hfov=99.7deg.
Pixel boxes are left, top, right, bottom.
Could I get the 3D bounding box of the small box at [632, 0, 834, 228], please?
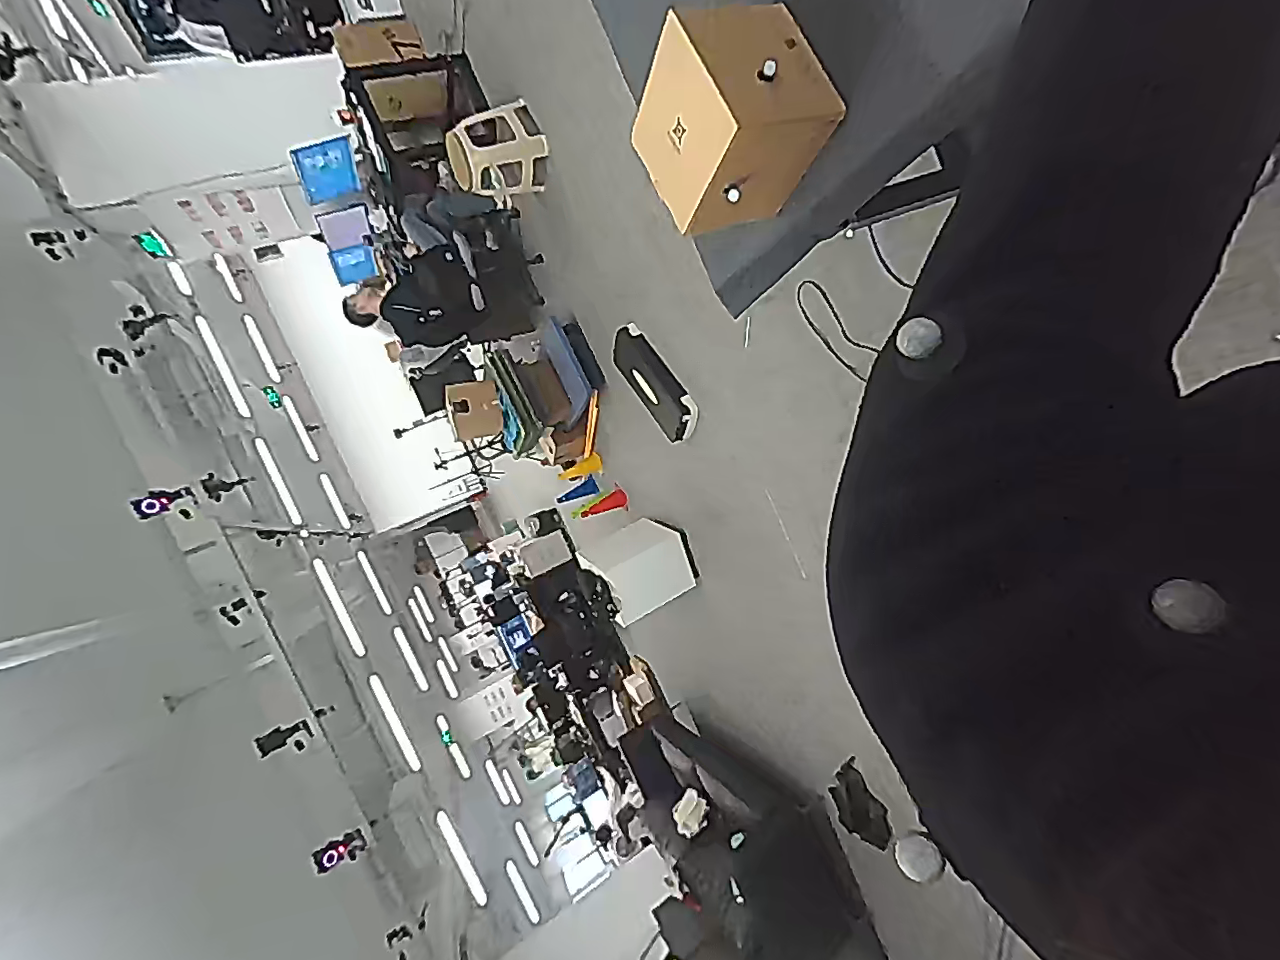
[{"bbox_3d":[0.117,-0.463,0.687,0.168,0.176,0.179,64,160,7],"label":"small box"}]
